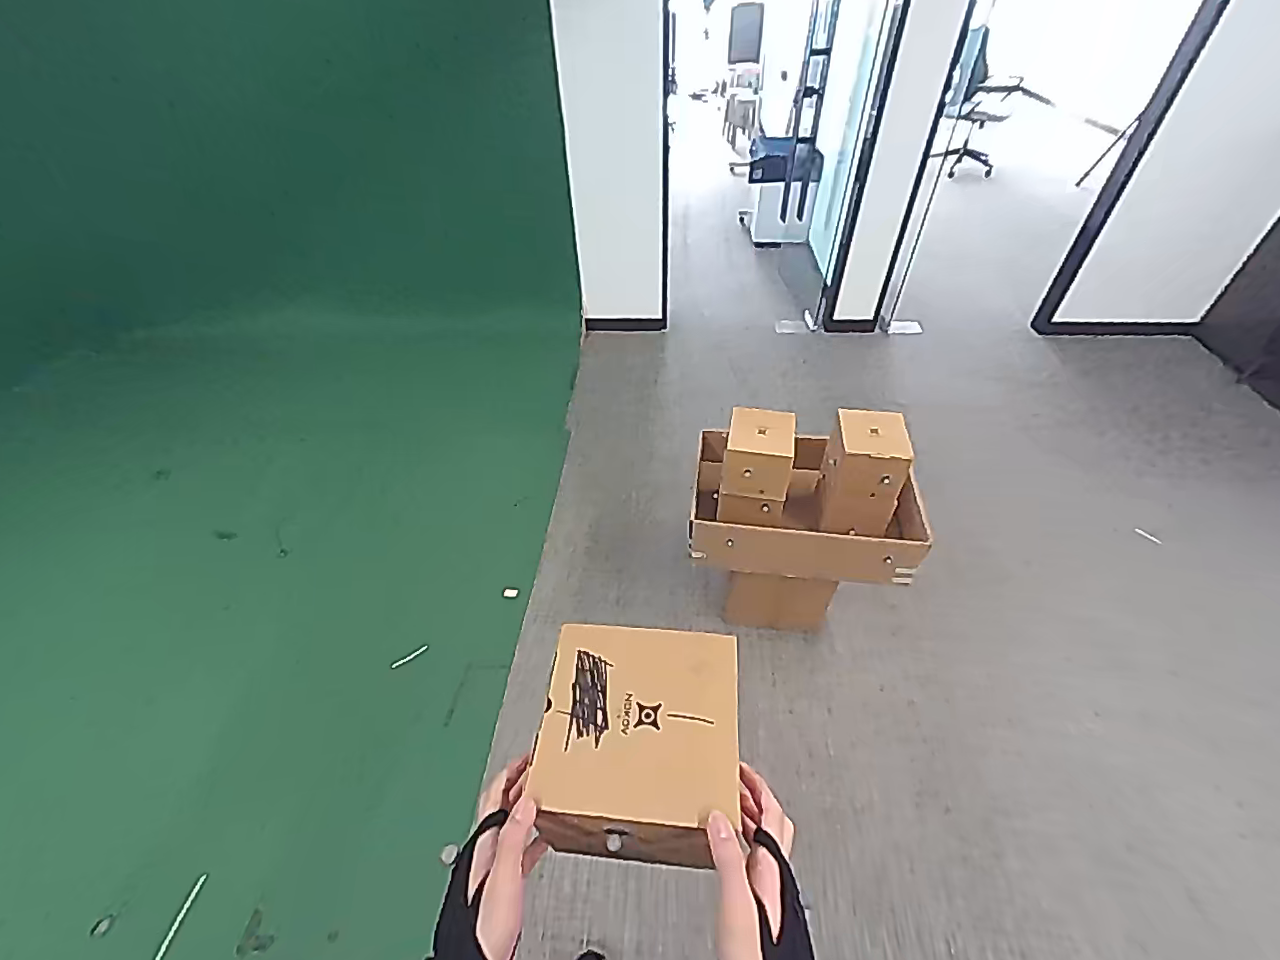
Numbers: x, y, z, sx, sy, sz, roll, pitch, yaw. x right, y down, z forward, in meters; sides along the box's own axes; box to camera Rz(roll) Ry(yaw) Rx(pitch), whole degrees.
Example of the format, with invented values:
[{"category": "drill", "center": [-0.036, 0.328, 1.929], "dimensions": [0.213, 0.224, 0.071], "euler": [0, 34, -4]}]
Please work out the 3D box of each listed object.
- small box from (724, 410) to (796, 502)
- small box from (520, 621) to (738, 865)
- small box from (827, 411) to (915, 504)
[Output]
[{"category": "small box", "center": [0.316, -0.062, 1.435], "dimensions": [0.168, 0.176, 0.179], "euler": [8, 45, 9]}, {"category": "small box", "center": [0.002, 0.260, 0.533], "dimensions": [0.179, 0.176, 0.168], "euler": [4, 46, 6]}, {"category": "small box", "center": [0.596, -0.057, 1.417], "dimensions": [0.168, 0.176, 0.179], "euler": [6, 45, 7]}]
